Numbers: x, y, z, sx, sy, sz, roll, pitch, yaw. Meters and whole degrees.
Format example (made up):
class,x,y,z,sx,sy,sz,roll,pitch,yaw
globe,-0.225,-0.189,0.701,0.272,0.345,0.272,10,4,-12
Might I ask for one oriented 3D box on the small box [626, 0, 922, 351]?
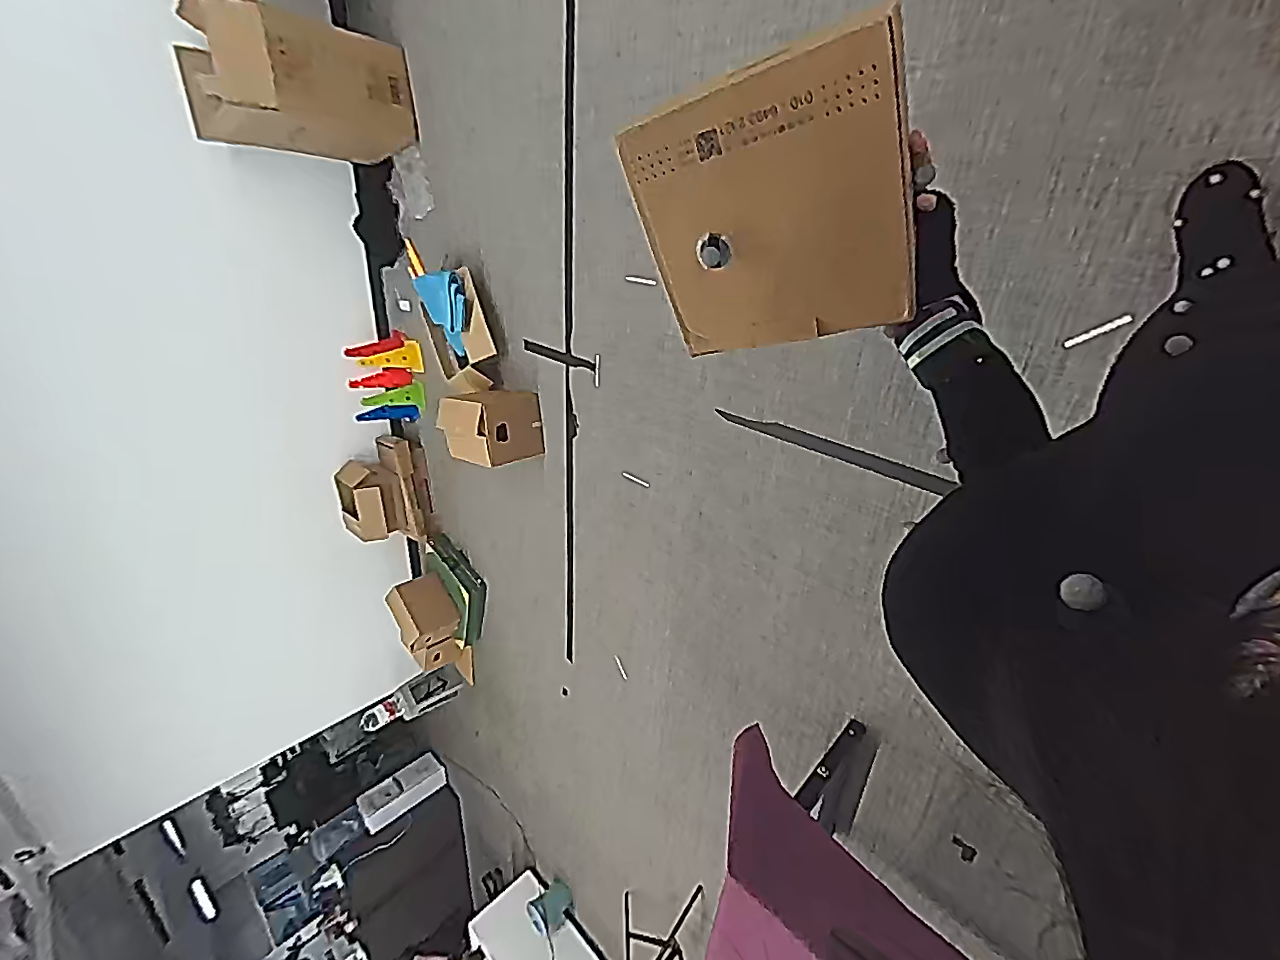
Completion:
class,x,y,z,sx,sy,sz,roll,pitch,yaw
small box,0.112,-0.225,0.407,0.168,0.179,0.176,-2,131,31
